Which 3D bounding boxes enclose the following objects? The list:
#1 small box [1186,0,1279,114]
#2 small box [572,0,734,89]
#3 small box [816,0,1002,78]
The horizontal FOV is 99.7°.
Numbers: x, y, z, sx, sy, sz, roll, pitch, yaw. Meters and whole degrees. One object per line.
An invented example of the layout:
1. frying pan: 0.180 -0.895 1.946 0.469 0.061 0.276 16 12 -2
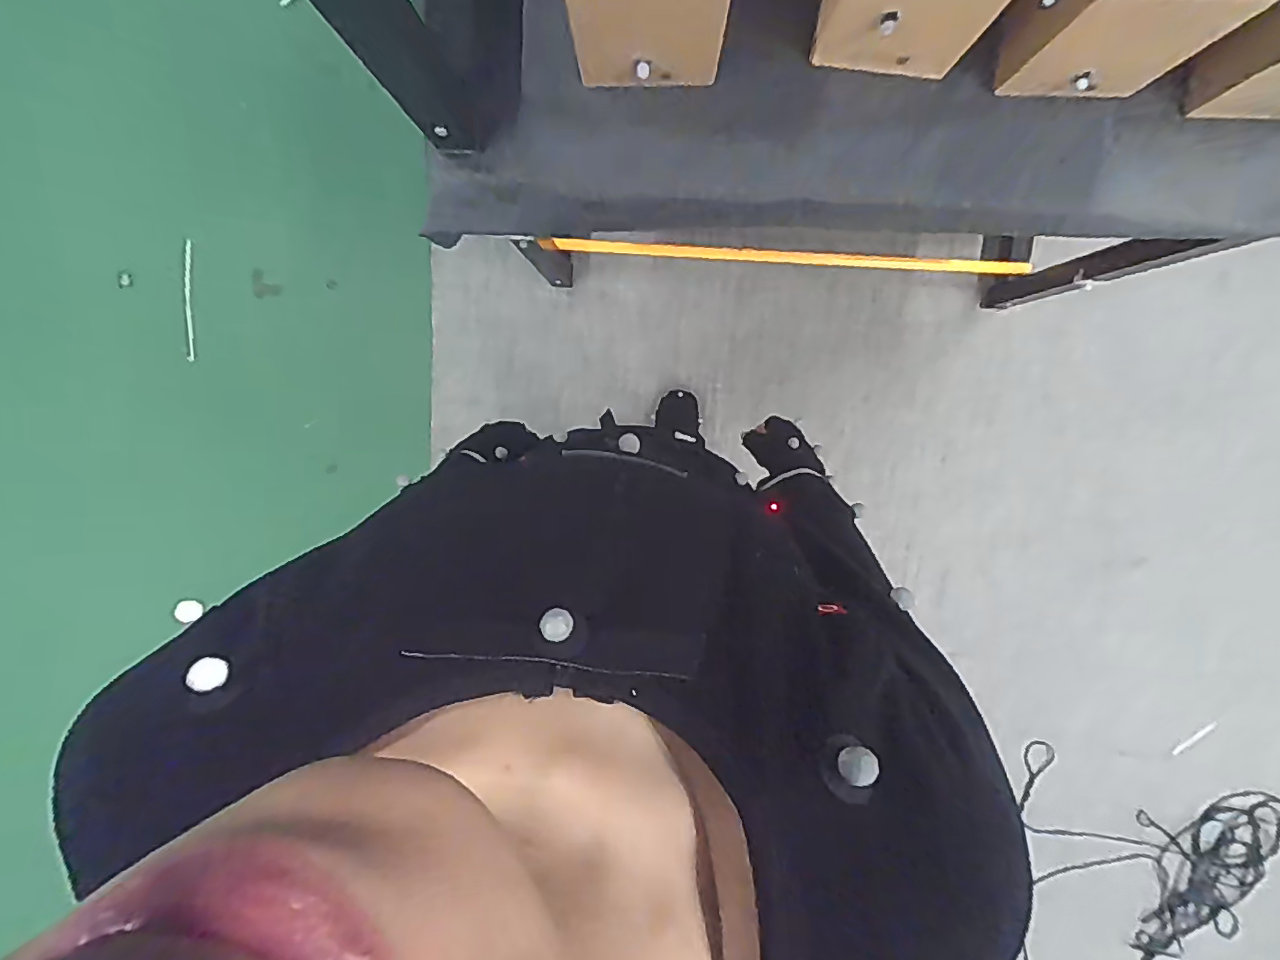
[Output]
1. small box: 0.744 -0.516 0.570 0.168 0.176 0.179 2 98 1
2. small box: 0.011 -0.564 0.584 0.168 0.176 0.179 0 99 1
3. small box: 0.300 -0.574 0.577 0.168 0.176 0.179 7 98 0
